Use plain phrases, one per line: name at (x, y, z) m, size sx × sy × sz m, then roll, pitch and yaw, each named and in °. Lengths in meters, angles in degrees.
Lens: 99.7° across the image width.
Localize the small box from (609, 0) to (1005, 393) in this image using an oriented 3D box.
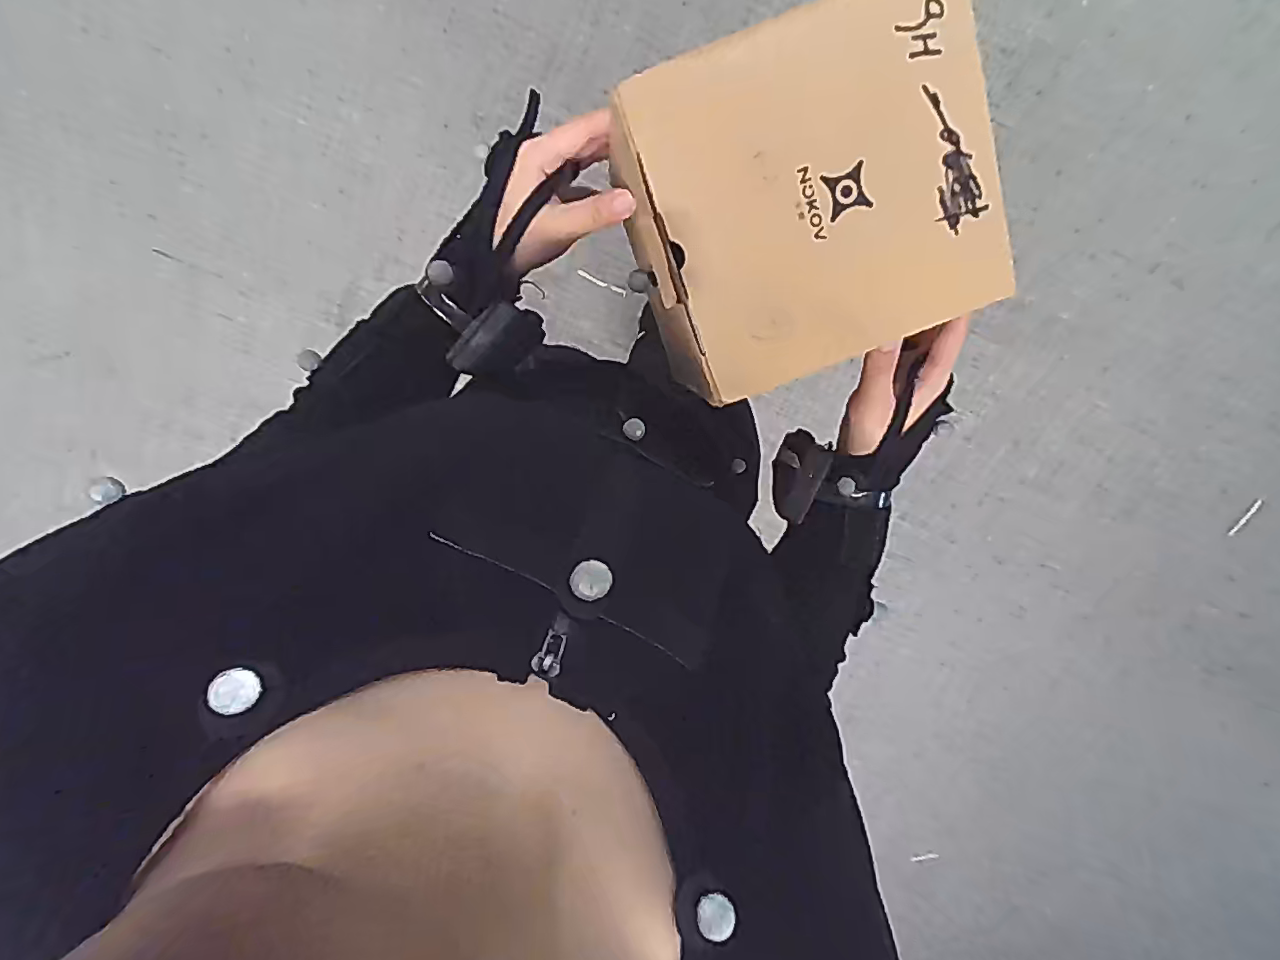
small box at (0.090, -0.170, 0.358) m, size 0.179 × 0.176 × 0.168 m, roll -21°, pitch 106°, yaw 3°
